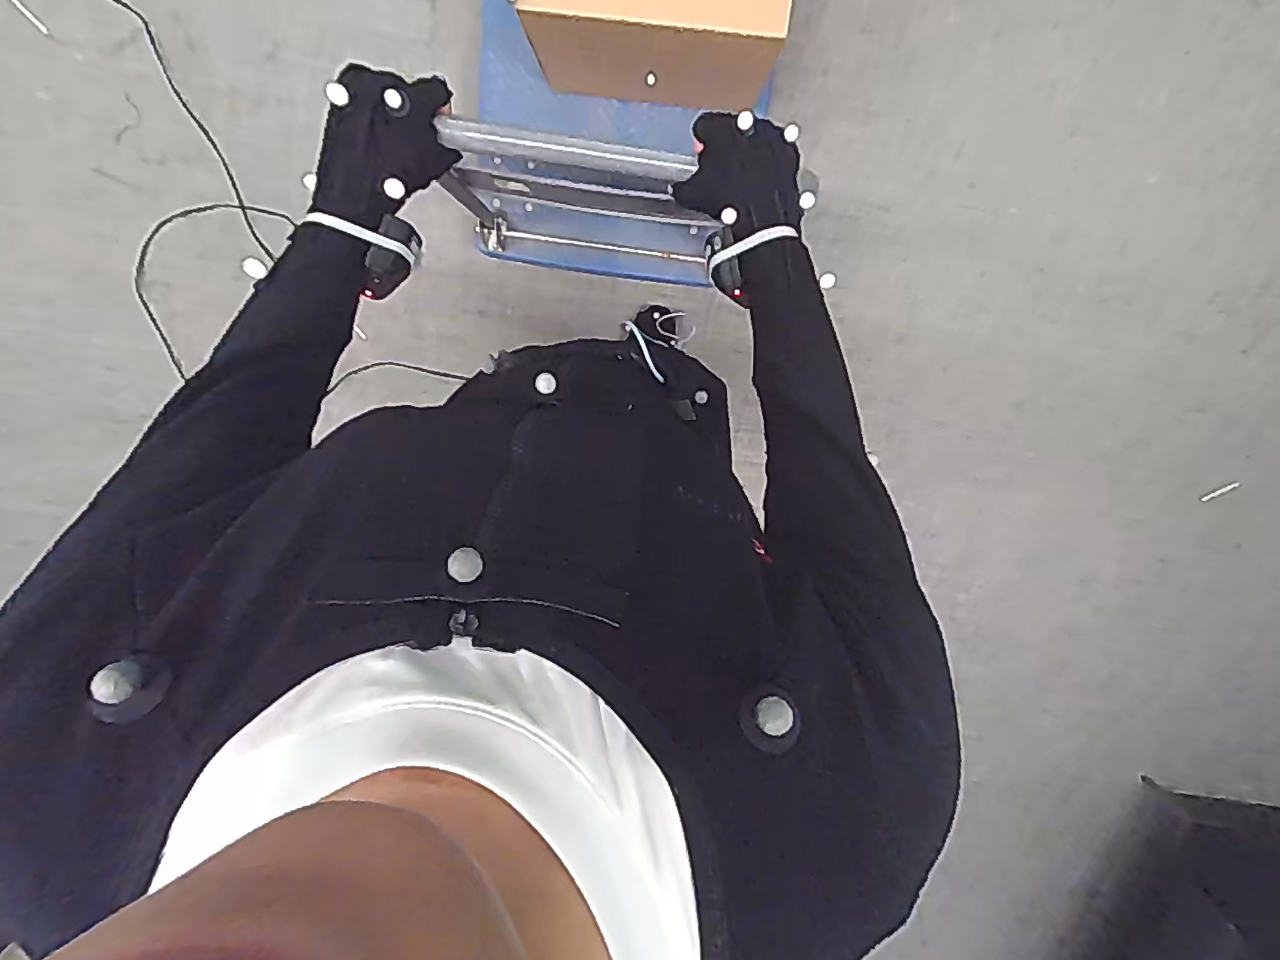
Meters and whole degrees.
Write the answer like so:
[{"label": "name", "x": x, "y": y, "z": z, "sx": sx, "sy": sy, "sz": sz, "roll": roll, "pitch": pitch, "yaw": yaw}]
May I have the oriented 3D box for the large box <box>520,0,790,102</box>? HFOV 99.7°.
[{"label": "large box", "x": 0.038, "y": -0.871, "z": 0.901, "sx": 0.408, "sy": 0.320, "sz": 0.320, "roll": 6, "pitch": 107, "yaw": 0}]
